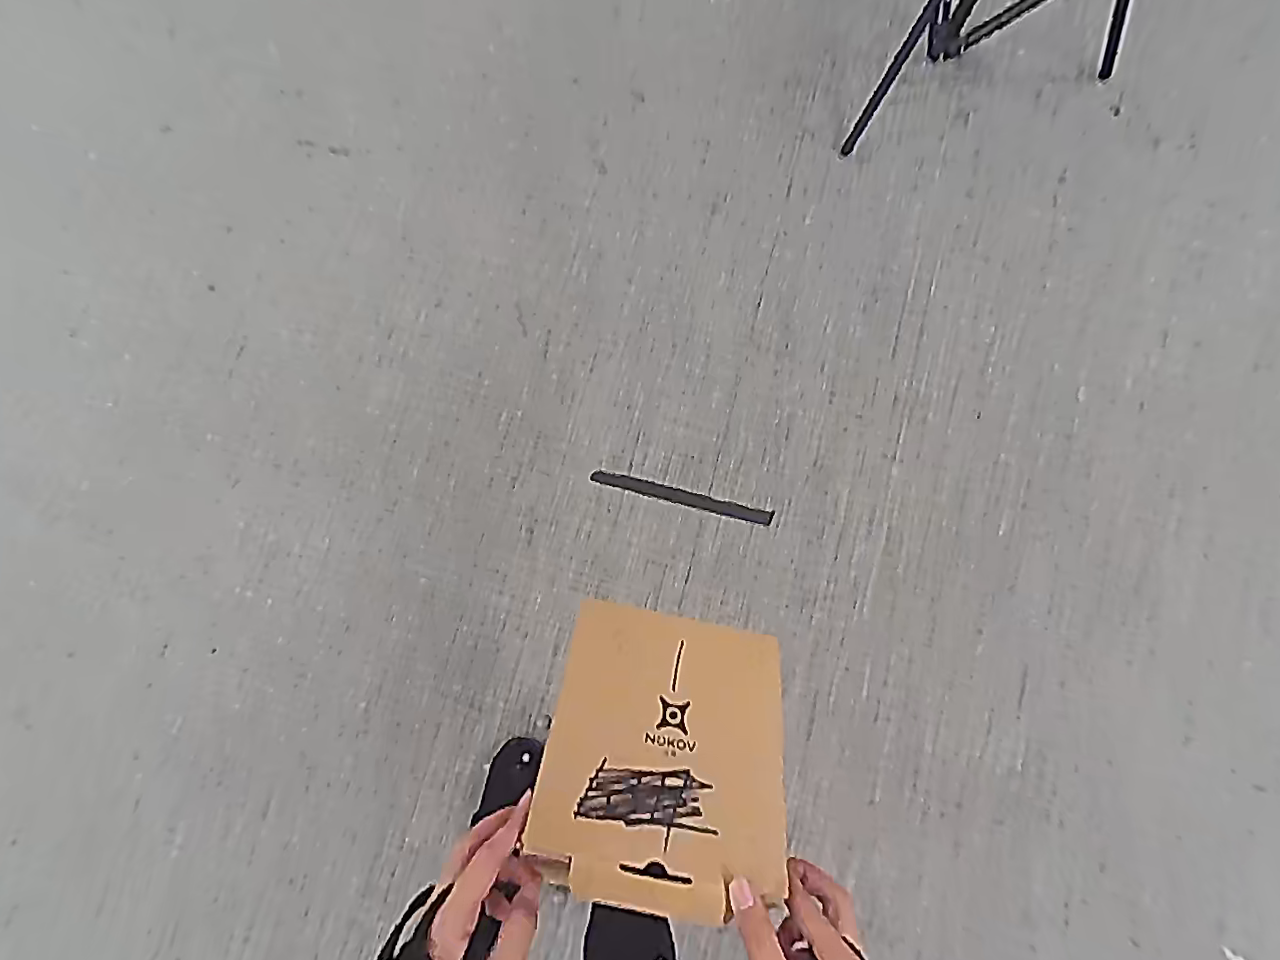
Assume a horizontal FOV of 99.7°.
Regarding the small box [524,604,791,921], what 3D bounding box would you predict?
[{"bbox_3d":[0.012,0.230,0.436,0.168,0.176,0.179,12,47,-1],"label":"small box"}]
